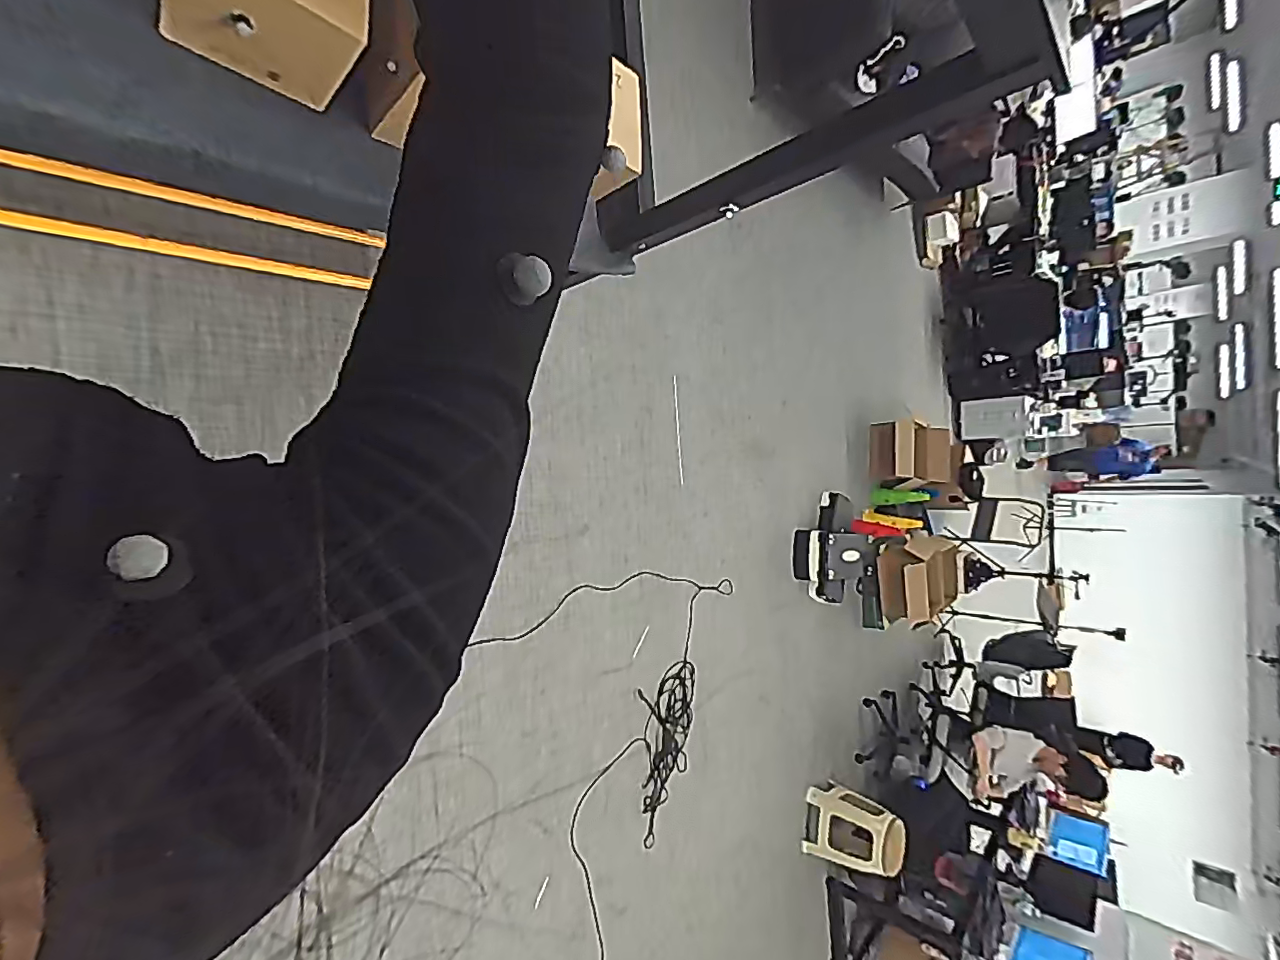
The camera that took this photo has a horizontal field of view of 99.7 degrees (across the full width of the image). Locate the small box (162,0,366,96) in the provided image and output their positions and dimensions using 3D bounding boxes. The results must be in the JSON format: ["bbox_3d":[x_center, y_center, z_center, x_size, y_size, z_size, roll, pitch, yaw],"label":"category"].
[{"bbox_3d":[-0.423,-0.591,0.612,0.168,0.176,0.179,4,86,-47],"label":"small box"}]

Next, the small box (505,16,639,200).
[{"bbox_3d":[-0.119,-0.618,0.931,0.168,0.176,0.179,-1,90,-47],"label":"small box"}]
